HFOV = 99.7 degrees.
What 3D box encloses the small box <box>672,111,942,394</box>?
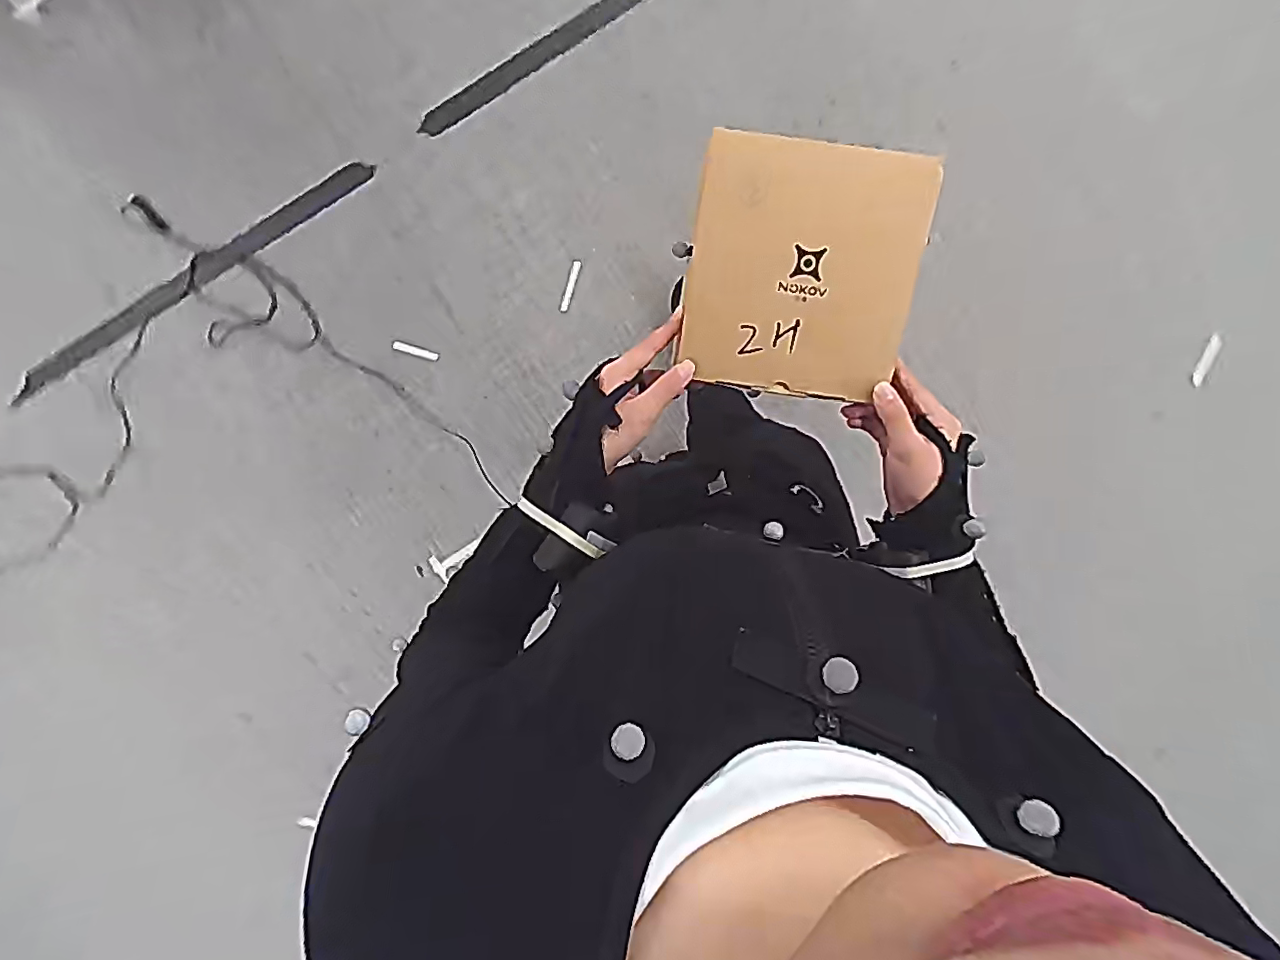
[{"bbox_3d":[0.120,-0.179,0.468,0.168,0.176,0.179,7,106,1],"label":"small box"}]
